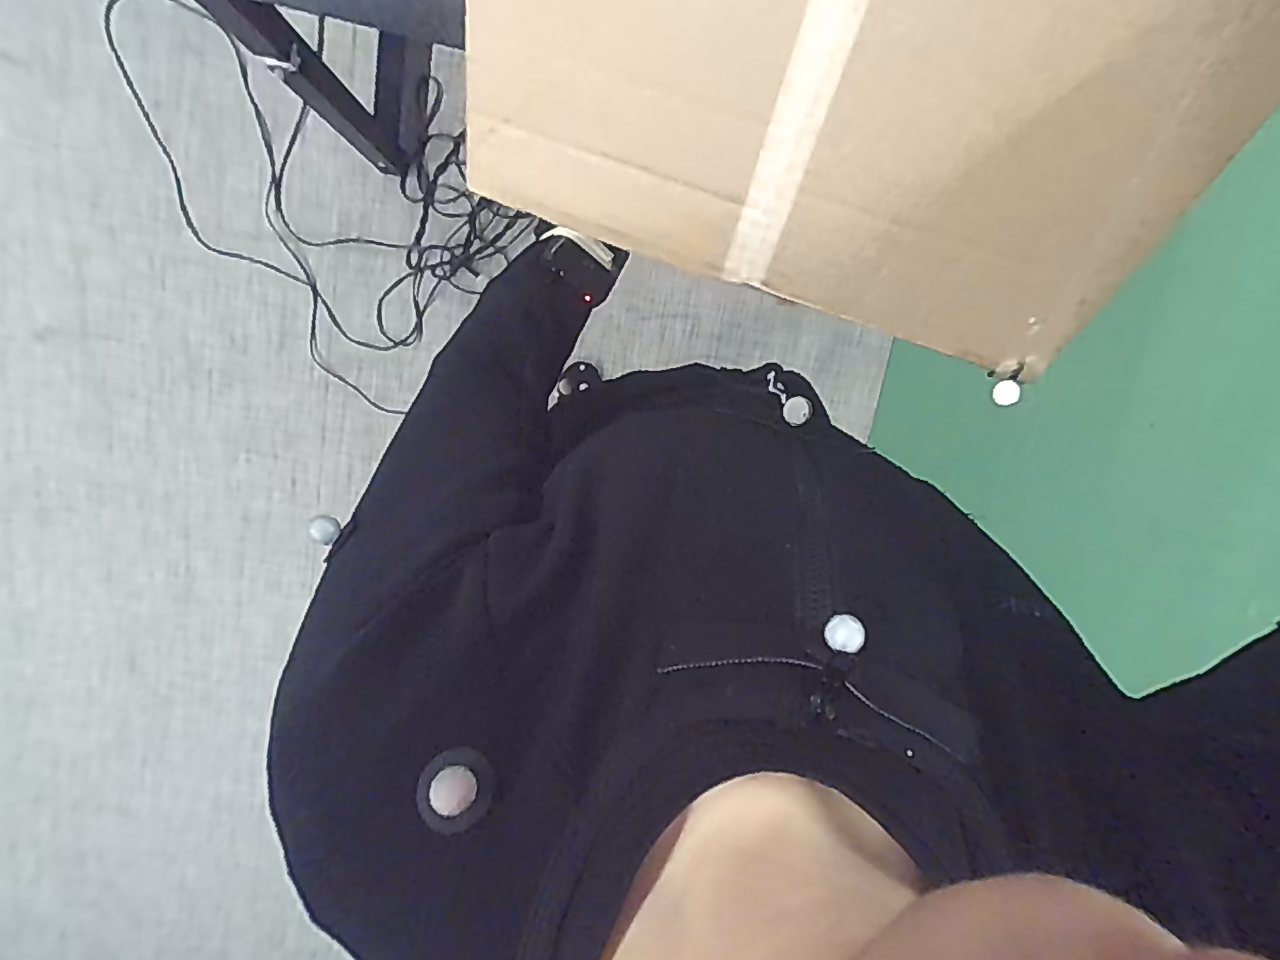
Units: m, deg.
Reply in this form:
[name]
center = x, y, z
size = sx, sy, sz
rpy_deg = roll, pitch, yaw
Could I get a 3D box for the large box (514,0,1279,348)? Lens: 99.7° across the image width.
[large box]
center = 0.147, -0.351, 0.265
size = 0.320, 0.320, 0.408
rpy_deg = 20, 135, 4
